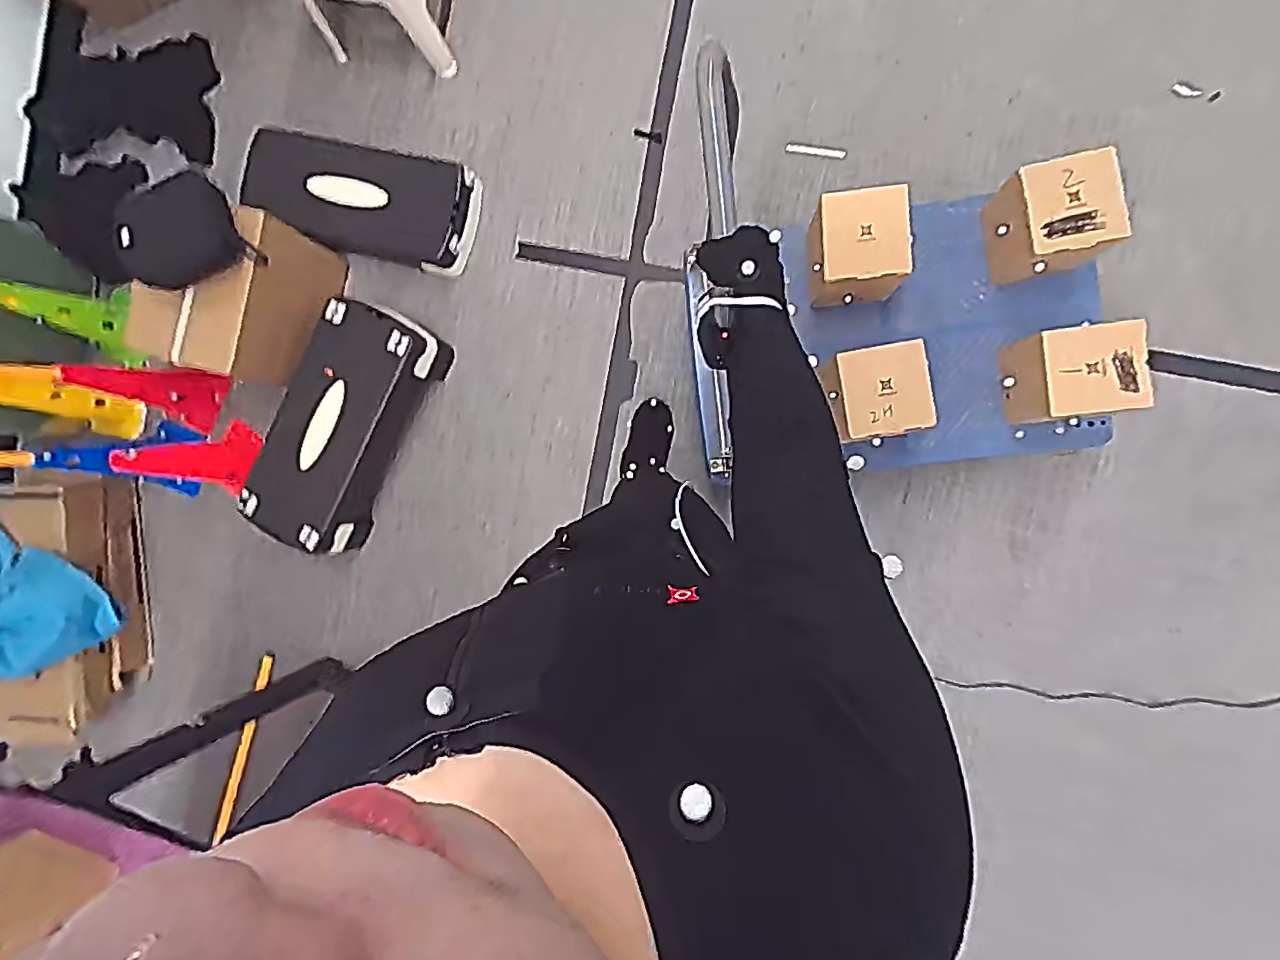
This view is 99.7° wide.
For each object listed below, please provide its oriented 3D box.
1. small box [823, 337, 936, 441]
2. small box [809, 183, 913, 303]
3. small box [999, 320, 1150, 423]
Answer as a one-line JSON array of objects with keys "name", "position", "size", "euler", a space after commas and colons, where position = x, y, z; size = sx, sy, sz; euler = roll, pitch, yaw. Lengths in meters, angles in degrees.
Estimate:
[{"name": "small box", "position": [0.493, -0.183, 1.140], "size": [0.168, 0.176, 0.179], "euler": [-8, 89, 8]}, {"name": "small box", "position": [0.459, -0.491, 1.143], "size": [0.168, 0.176, 0.179], "euler": [-3, 92, 7]}, {"name": "small box", "position": [0.863, -0.210, 1.089], "size": [0.179, 0.176, 0.168], "euler": [-5, 90, 9]}]
